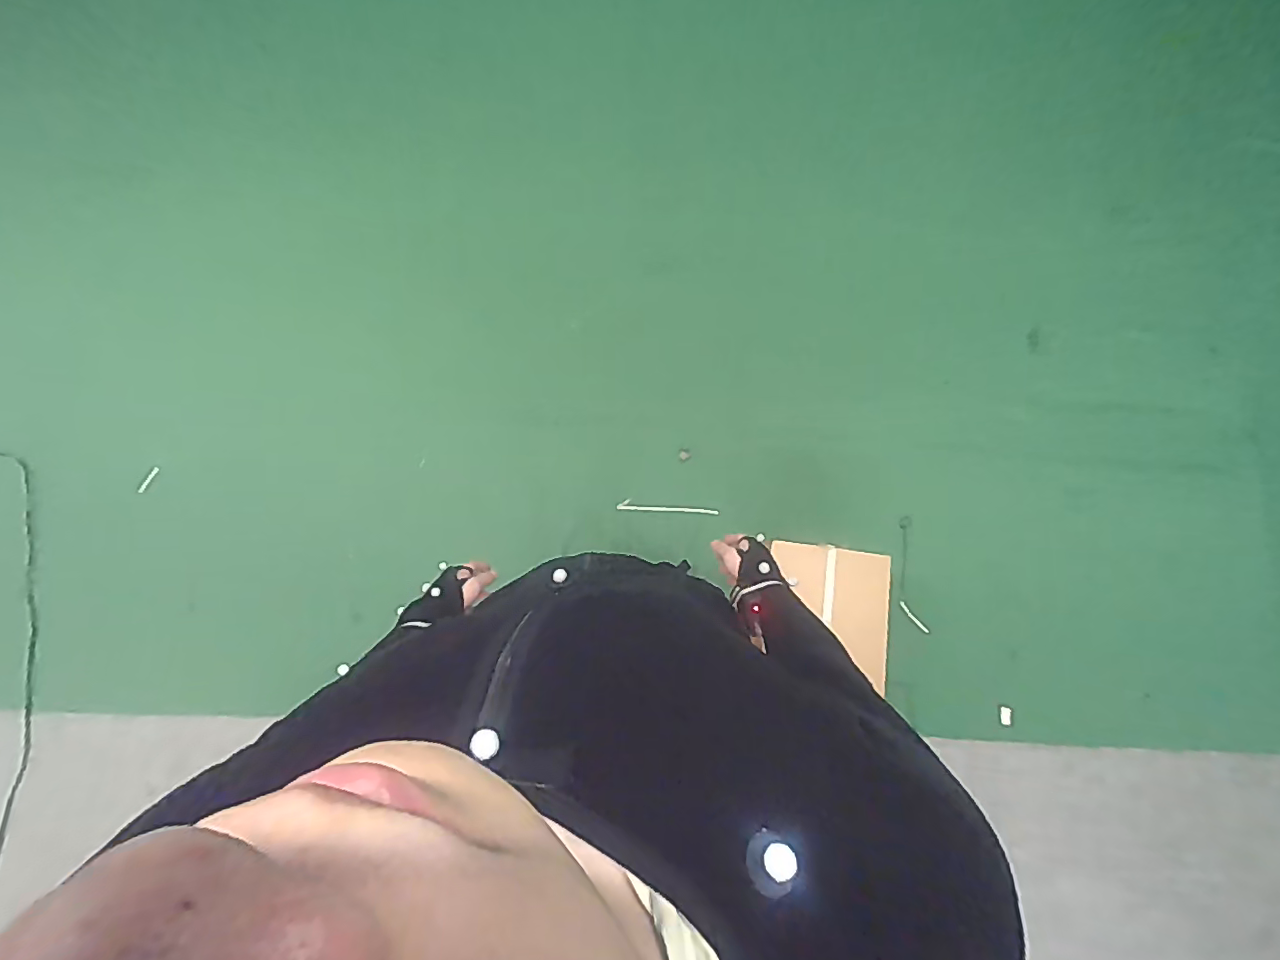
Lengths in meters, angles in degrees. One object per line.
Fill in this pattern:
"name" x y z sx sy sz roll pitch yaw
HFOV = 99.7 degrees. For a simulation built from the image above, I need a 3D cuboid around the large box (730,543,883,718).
"large box" 0.447 0.399 1.505 0.320 0.320 0.408 8 79 0
